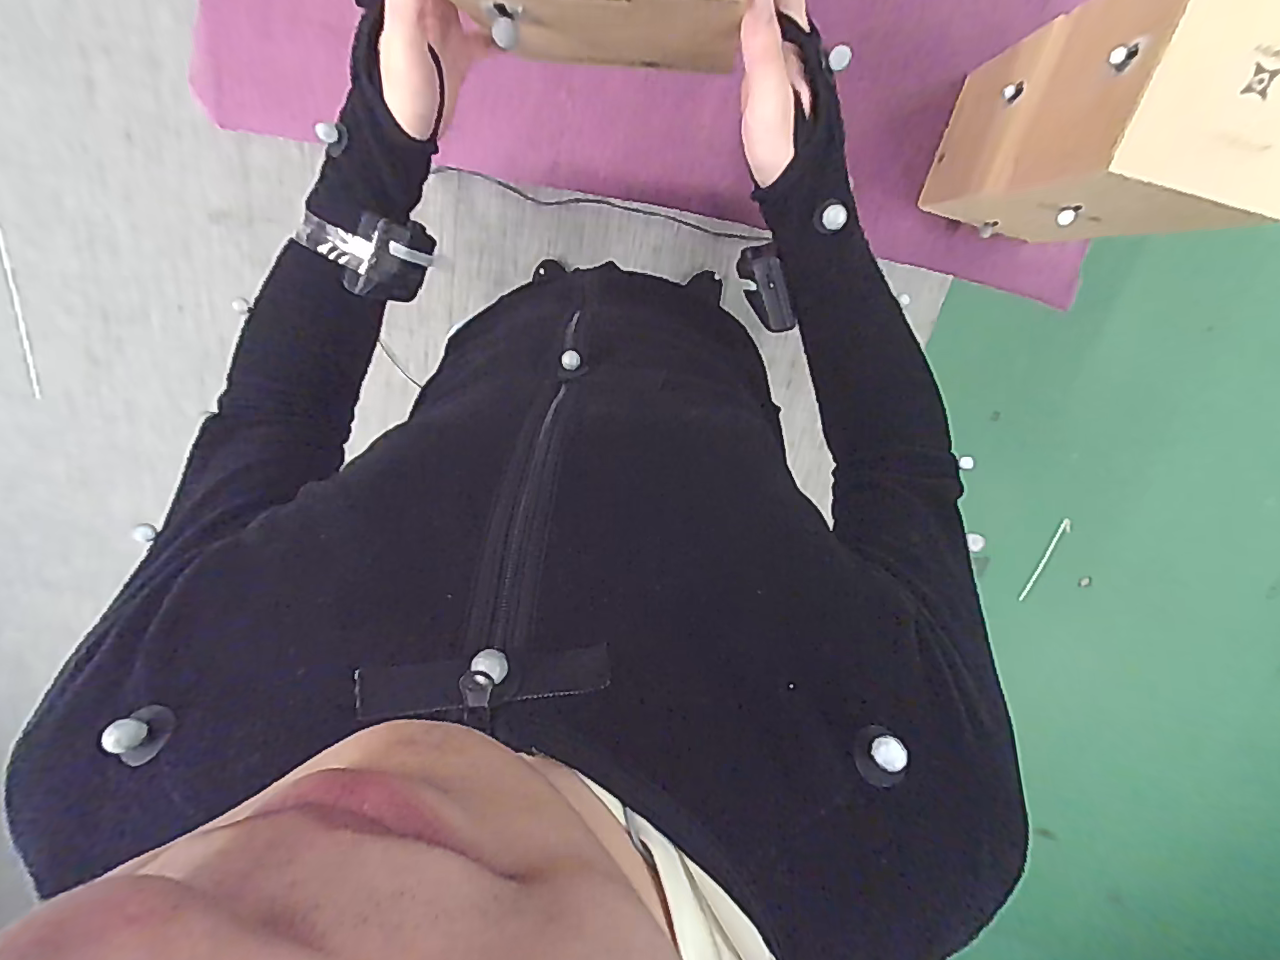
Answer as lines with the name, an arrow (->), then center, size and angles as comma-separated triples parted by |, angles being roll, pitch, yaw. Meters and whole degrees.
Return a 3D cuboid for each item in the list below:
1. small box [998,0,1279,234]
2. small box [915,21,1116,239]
small box -> 0.483, -0.345, 0.502 | 0.168, 0.176, 0.179 | 14, 111, -3
small box -> 0.480, -0.400, 0.655 | 0.179, 0.176, 0.168 | 14, 110, -5
